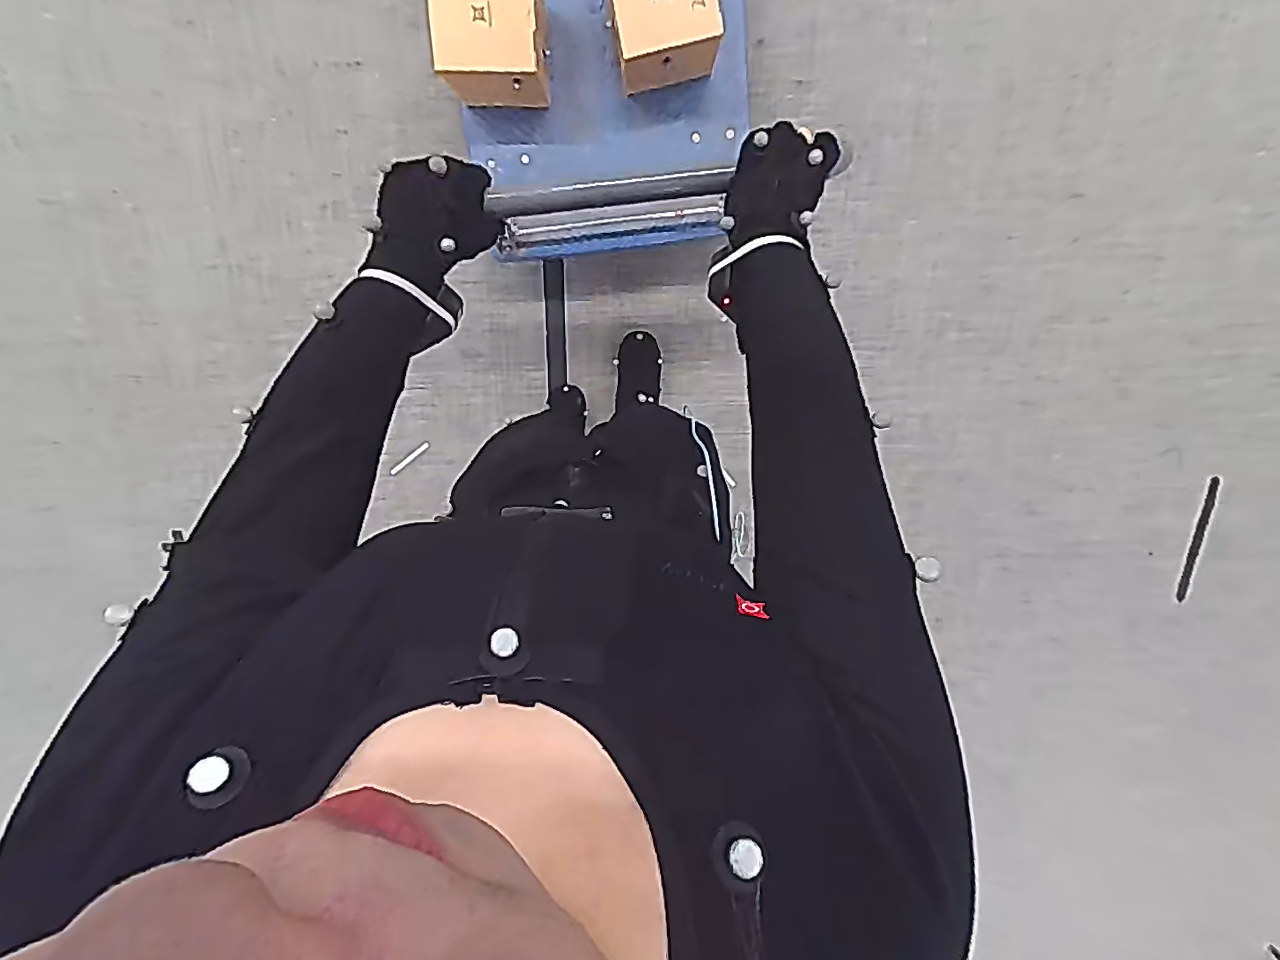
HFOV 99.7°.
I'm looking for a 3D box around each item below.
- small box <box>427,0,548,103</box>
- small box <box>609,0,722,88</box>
[{"bbox_3d":[-0.265,-0.796,0.964,0.179,0.176,0.168,-1,108,-2],"label":"small box"},{"bbox_3d":[0.038,-0.829,0.954,0.179,0.176,0.168,-11,109,4],"label":"small box"}]
